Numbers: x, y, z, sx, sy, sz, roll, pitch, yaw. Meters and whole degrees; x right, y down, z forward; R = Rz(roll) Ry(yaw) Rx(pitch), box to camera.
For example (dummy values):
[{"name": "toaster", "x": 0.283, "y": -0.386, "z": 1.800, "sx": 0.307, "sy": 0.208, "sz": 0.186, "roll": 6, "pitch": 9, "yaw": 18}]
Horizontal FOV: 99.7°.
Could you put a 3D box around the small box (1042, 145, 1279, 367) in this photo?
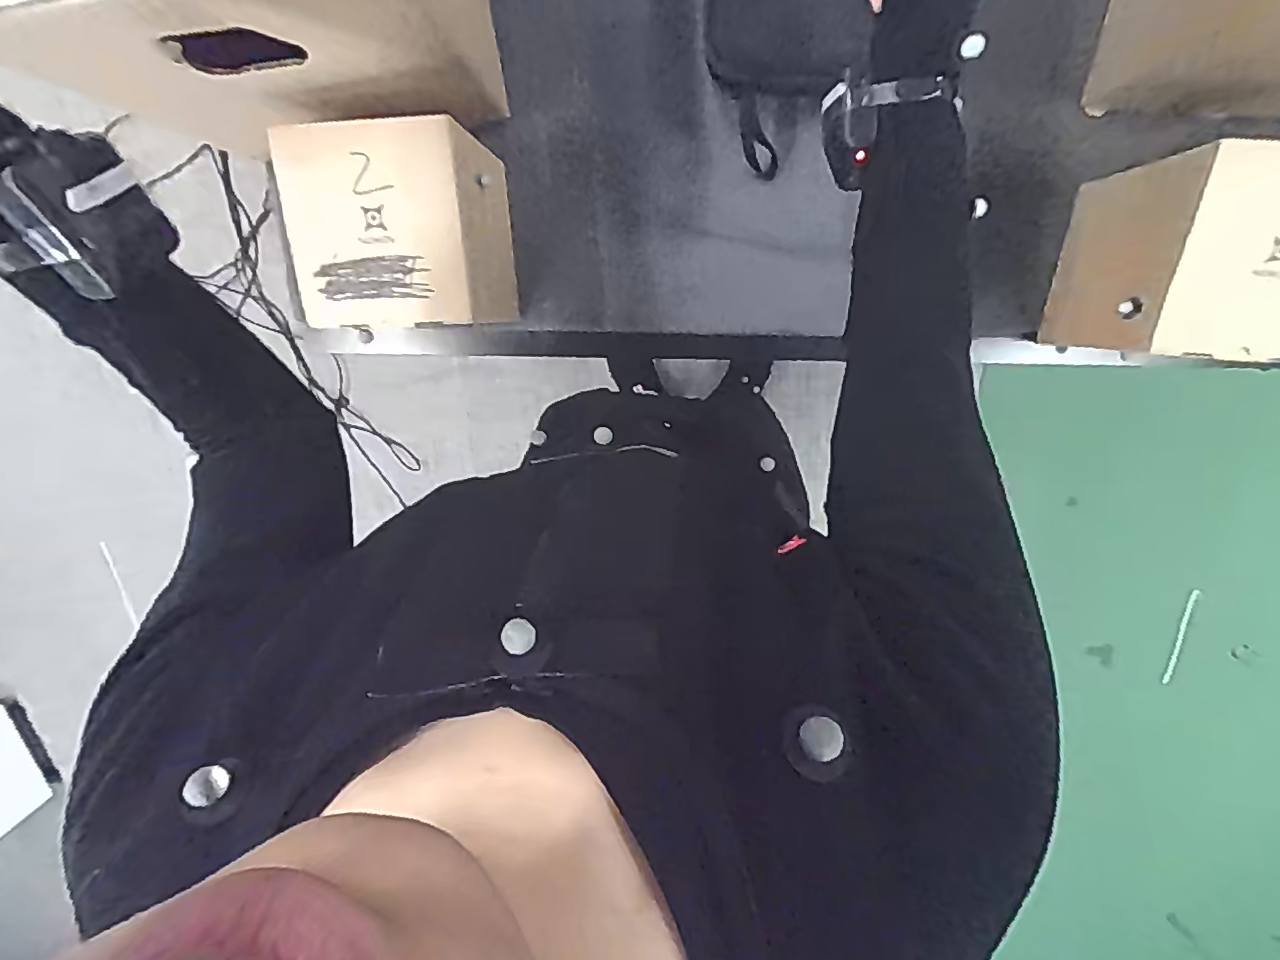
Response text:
[{"name": "small box", "x": 0.556, "y": -0.214, "z": 0.547, "sx": 0.168, "sy": 0.176, "sz": 0.179, "roll": 4, "pitch": 109, "yaw": 3}]
